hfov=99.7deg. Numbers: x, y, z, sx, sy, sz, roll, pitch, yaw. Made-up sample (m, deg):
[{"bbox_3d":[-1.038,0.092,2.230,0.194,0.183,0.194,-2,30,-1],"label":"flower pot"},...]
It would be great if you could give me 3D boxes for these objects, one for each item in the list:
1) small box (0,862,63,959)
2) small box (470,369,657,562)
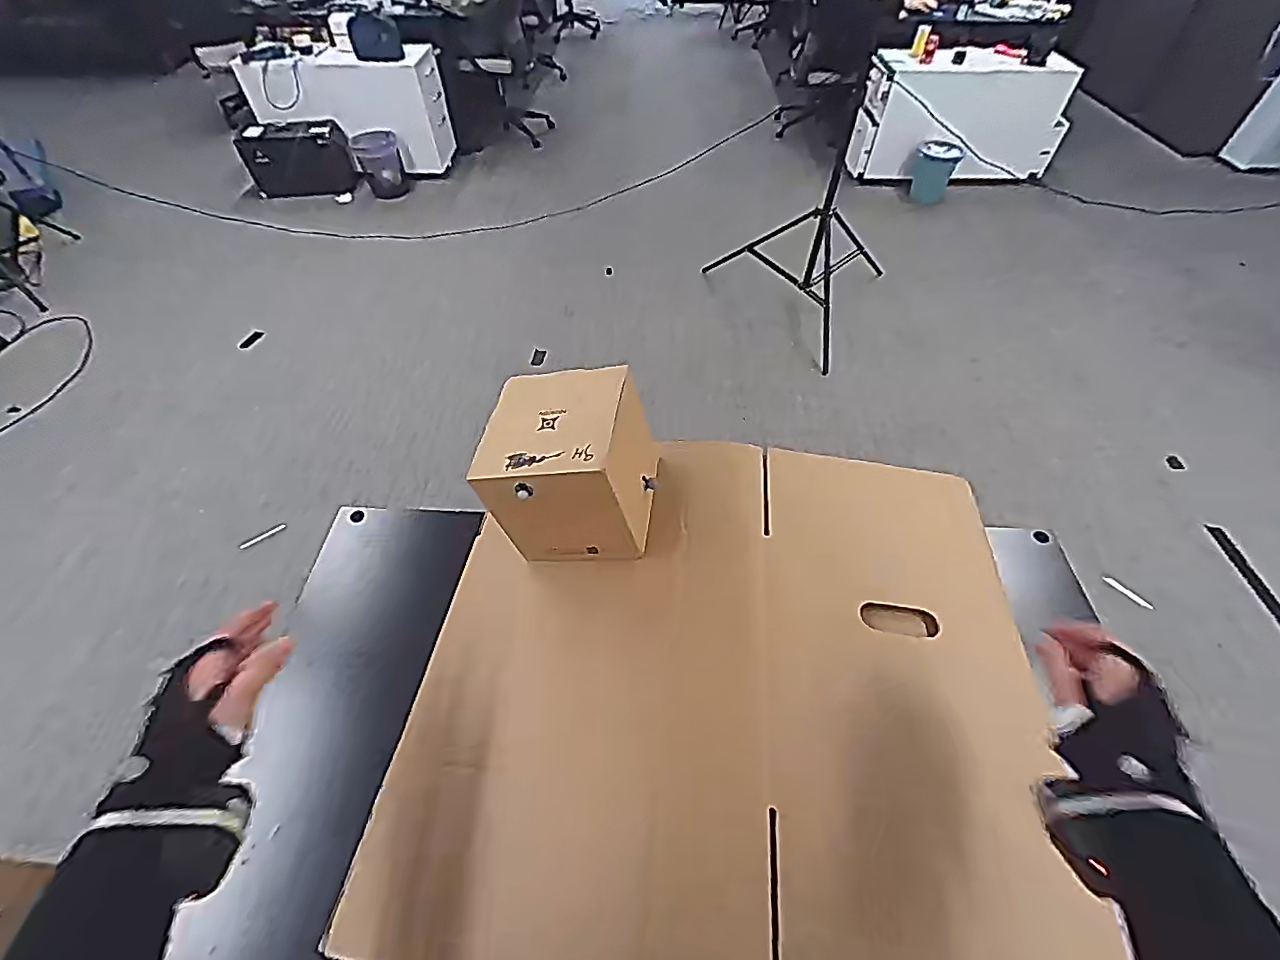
[{"bbox_3d":[-1.202,0.789,0.952,0.168,0.176,0.179,-3,50,-4],"label":"small box"},{"bbox_3d":[-0.080,-0.014,0.686,0.168,0.176,0.179,-4,48,16],"label":"small box"}]
